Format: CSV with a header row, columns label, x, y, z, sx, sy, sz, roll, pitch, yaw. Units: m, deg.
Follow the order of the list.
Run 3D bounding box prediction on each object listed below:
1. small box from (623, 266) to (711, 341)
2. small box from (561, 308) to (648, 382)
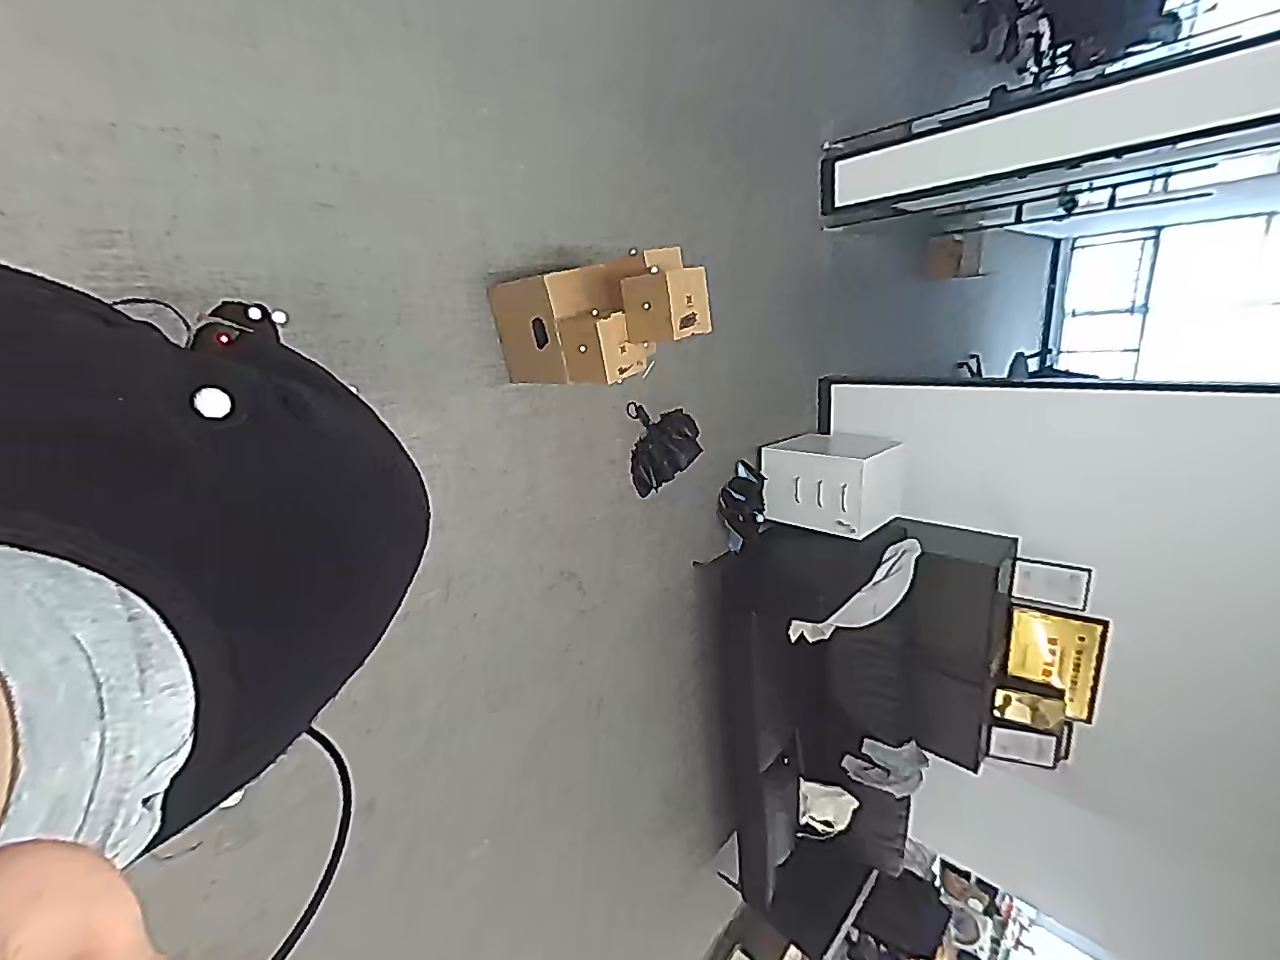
label,x,y,z,sx,sy,sz,roll,pitch,yaw
small box,0.074,-0.481,1.485,0.168,0.176,0.179,-26,114,-41
small box,-0.105,-0.387,1.559,0.168,0.176,0.179,-31,120,-38
